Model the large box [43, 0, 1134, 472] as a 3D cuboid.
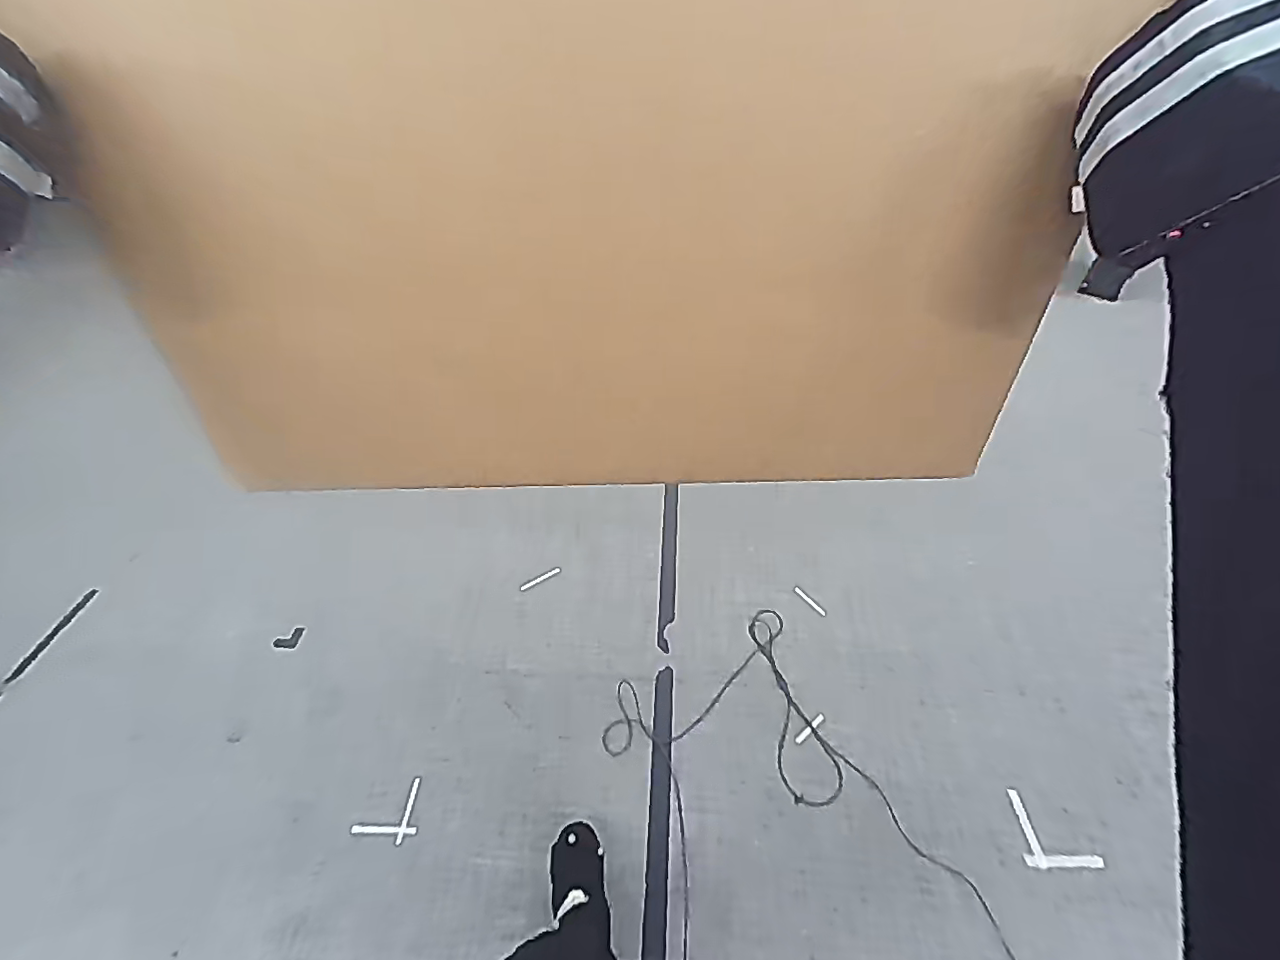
[{"bbox_3d":[-0.020,-0.215,0.344,0.408,0.320,0.320,-1,37,-2],"label":"large box"}]
